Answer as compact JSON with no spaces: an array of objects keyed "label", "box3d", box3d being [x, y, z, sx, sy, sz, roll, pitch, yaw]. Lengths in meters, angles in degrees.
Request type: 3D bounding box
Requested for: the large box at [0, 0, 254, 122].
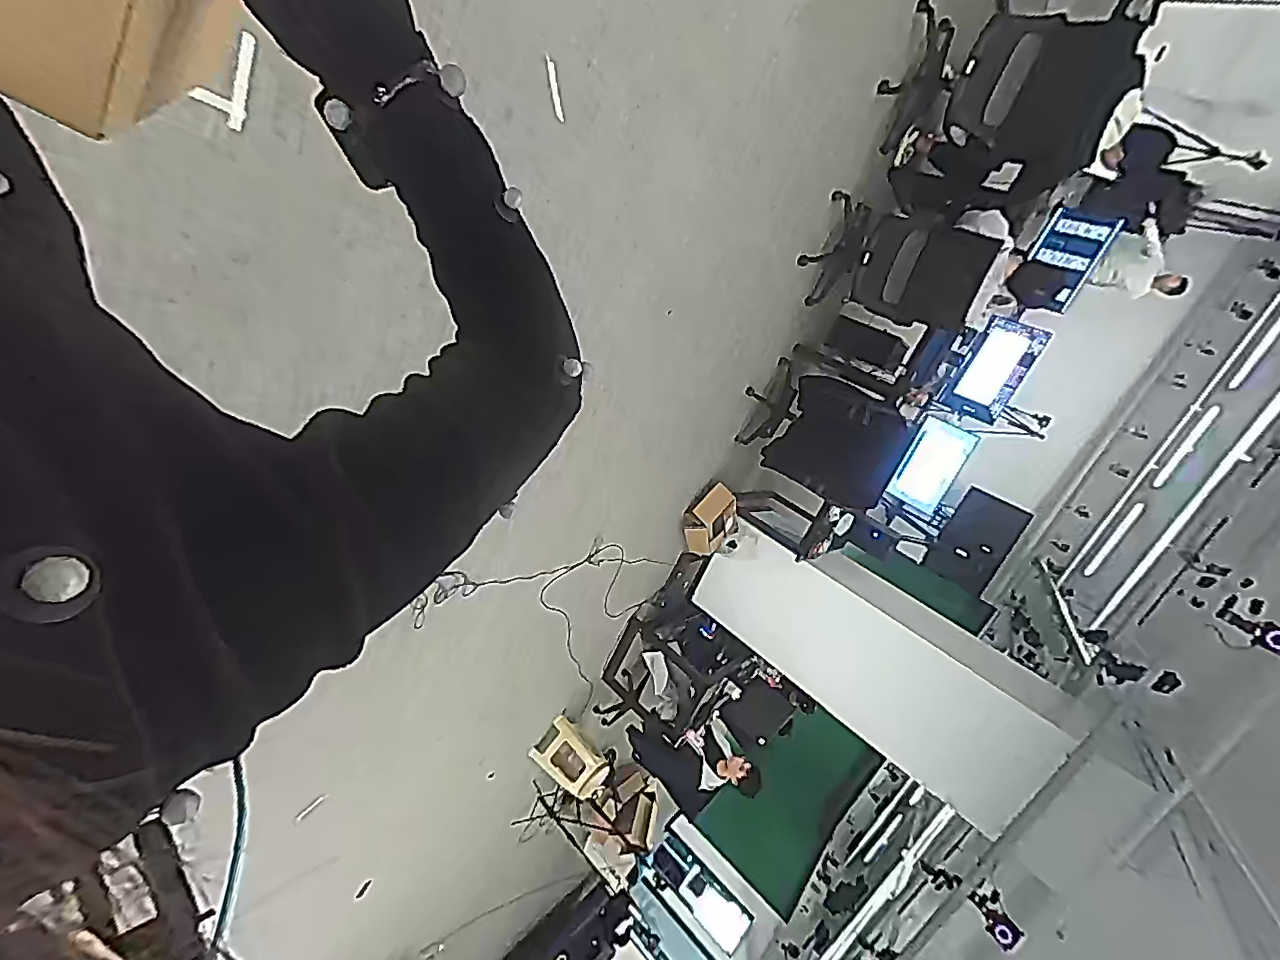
[{"label":"large box","box3d":[-0.376,-0.445,0.214,0.408,0.320,0.320,22,117,-39]}]
